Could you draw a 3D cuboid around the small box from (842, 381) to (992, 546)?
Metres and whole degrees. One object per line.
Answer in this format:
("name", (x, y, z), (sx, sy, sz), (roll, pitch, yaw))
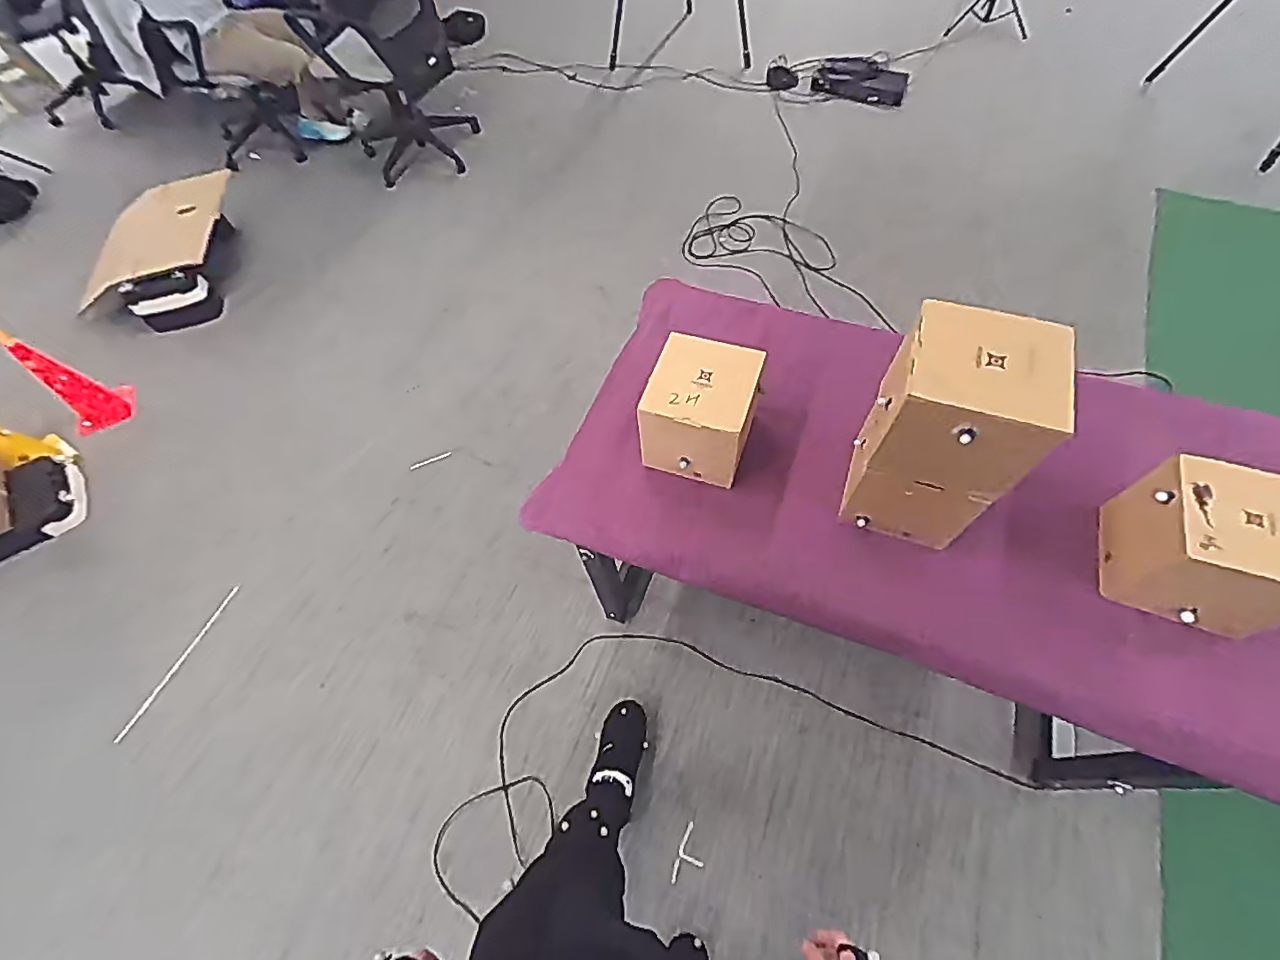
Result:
("small box", (0.430, -0.020, 0.846), (0.168, 0.176, 0.179), (17, 62, 13))

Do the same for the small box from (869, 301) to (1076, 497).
("small box", (0.419, -0.099, 0.704), (0.179, 0.176, 0.168), (18, 64, 12))

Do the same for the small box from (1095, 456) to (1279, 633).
("small box", (0.791, 0.098, 0.755), (0.179, 0.176, 0.168), (18, 63, 14))

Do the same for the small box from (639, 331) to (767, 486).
("small box", (0.106, -0.118, 0.921), (0.168, 0.176, 0.179), (16, 63, 13))
